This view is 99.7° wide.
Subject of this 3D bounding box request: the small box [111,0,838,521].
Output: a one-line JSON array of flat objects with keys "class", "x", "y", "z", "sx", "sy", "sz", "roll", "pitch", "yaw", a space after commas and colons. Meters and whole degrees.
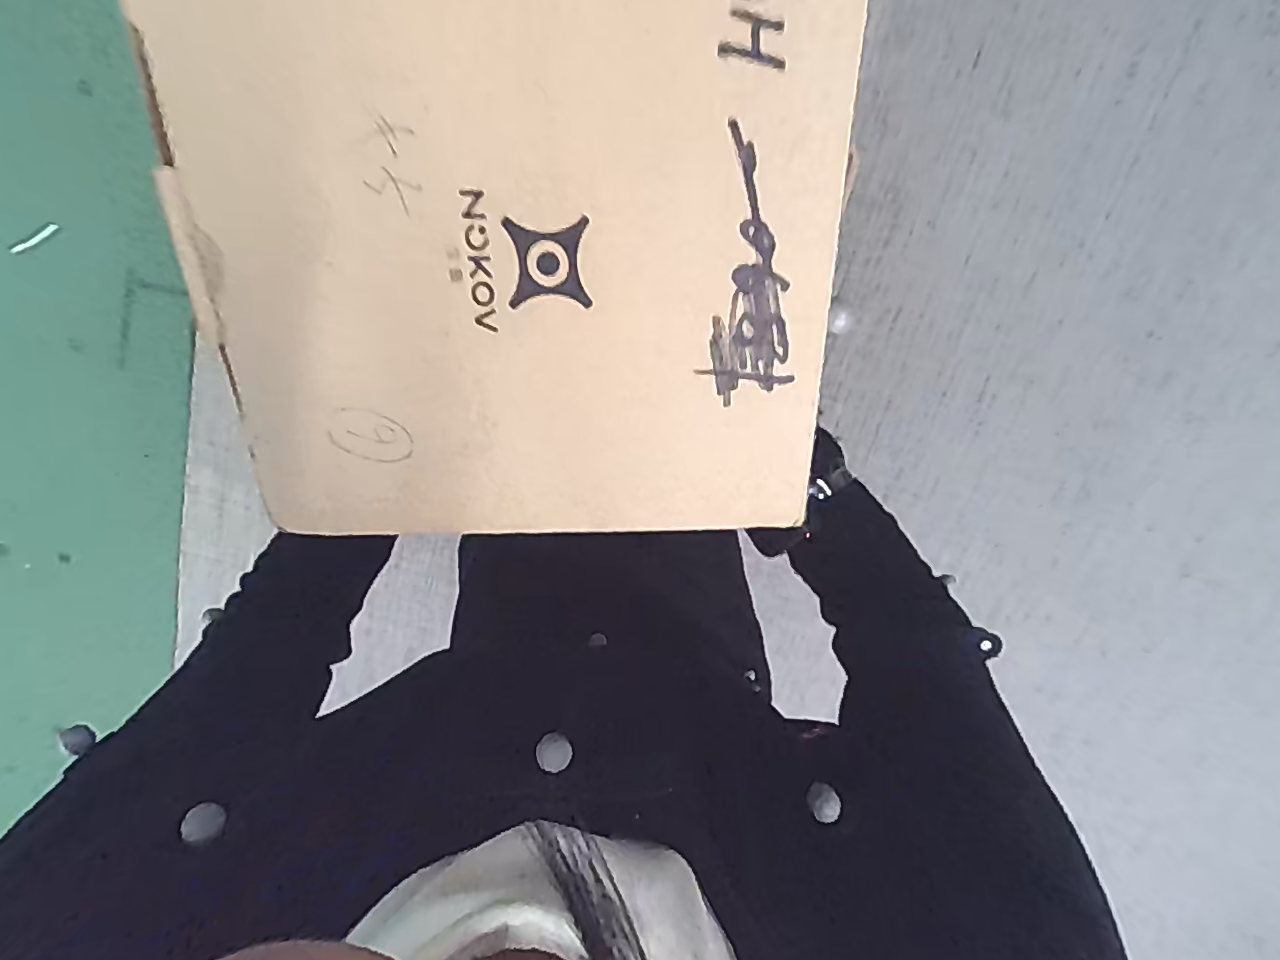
[{"class": "small box", "x": -0.037, "y": -0.094, "z": 0.221, "sx": 0.179, "sy": 0.176, "sz": 0.168, "roll": -3, "pitch": 111, "yaw": 0}]
